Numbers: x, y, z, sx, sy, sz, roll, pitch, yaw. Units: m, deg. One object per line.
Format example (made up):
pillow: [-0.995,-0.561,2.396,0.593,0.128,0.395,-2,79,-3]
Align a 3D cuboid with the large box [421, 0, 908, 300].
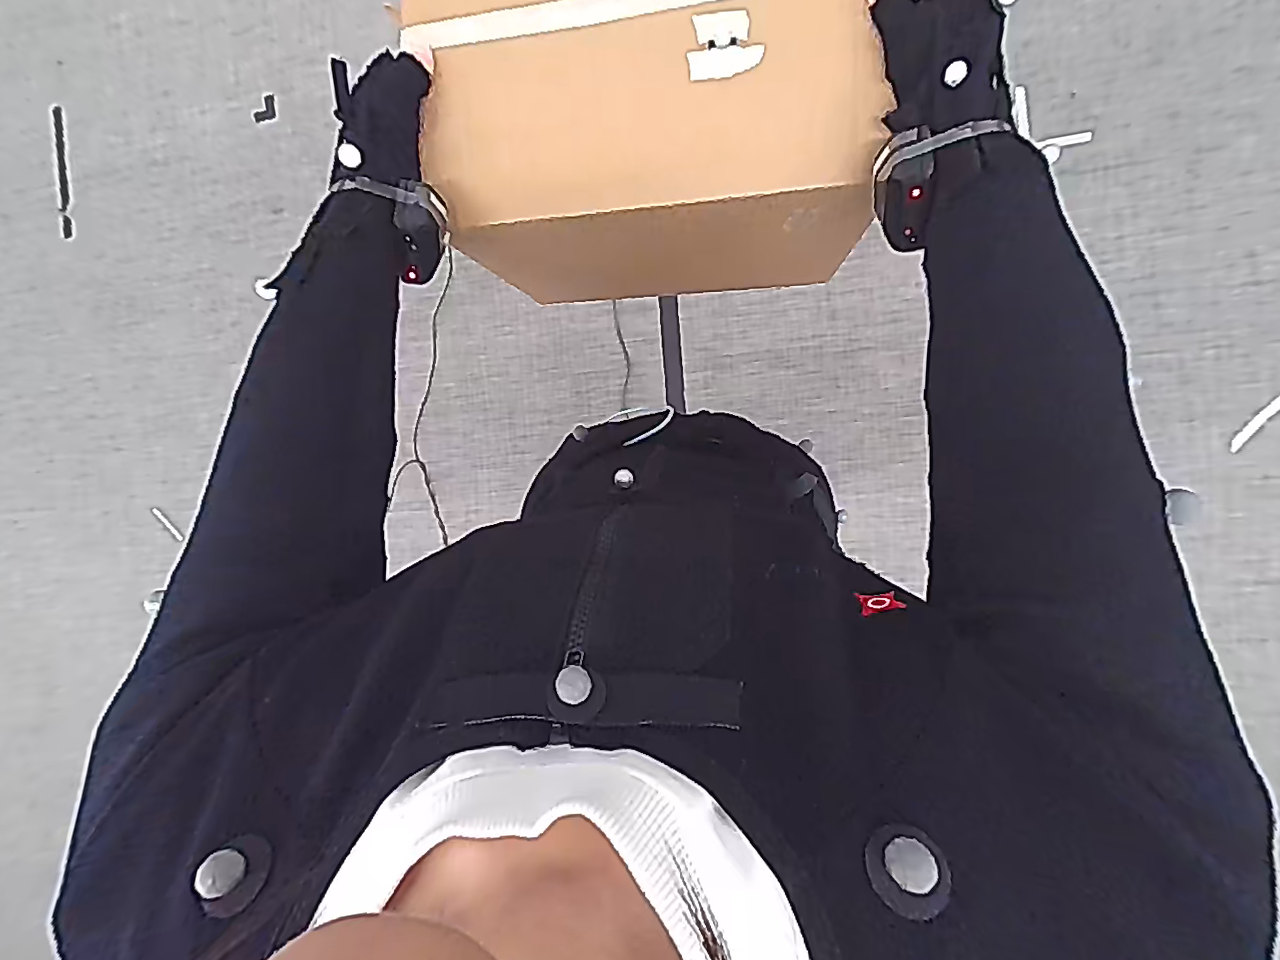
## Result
large box: [0.026,-0.404,0.590,0.408,0.320,0.320,-2,96,8]
